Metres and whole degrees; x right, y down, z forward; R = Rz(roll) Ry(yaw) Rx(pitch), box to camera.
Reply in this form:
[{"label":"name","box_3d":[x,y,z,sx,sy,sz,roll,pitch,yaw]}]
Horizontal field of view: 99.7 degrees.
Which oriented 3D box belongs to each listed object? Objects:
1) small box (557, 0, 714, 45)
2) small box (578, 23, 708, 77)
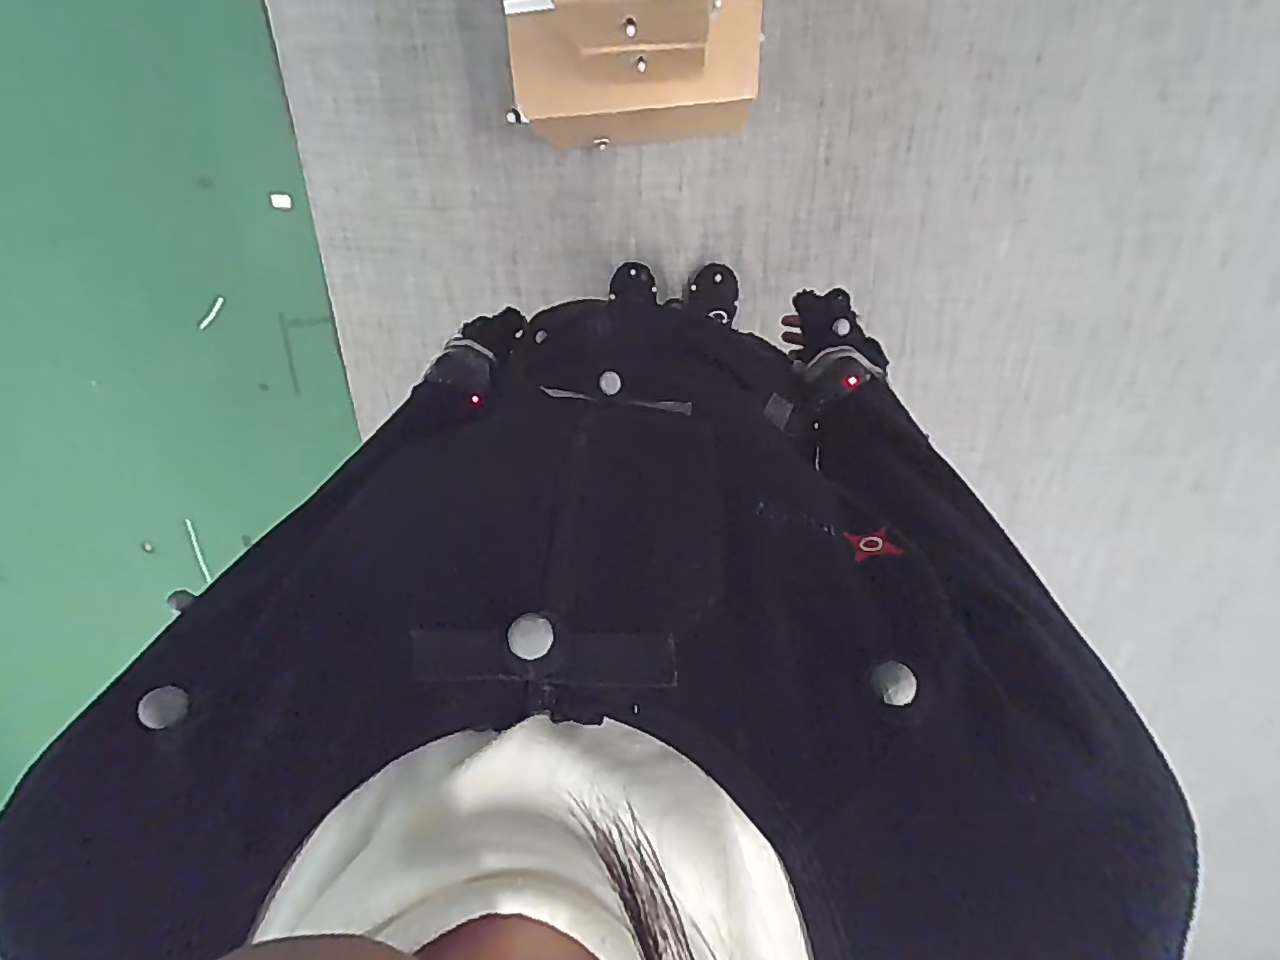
[{"label":"small box","box_3d":[-0.001,-0.628,0.620,0.179,0.176,0.168,0,115,6]},{"label":"small box","box_3d":[0.010,-0.694,0.770,0.179,0.176,0.168,1,115,5]}]
